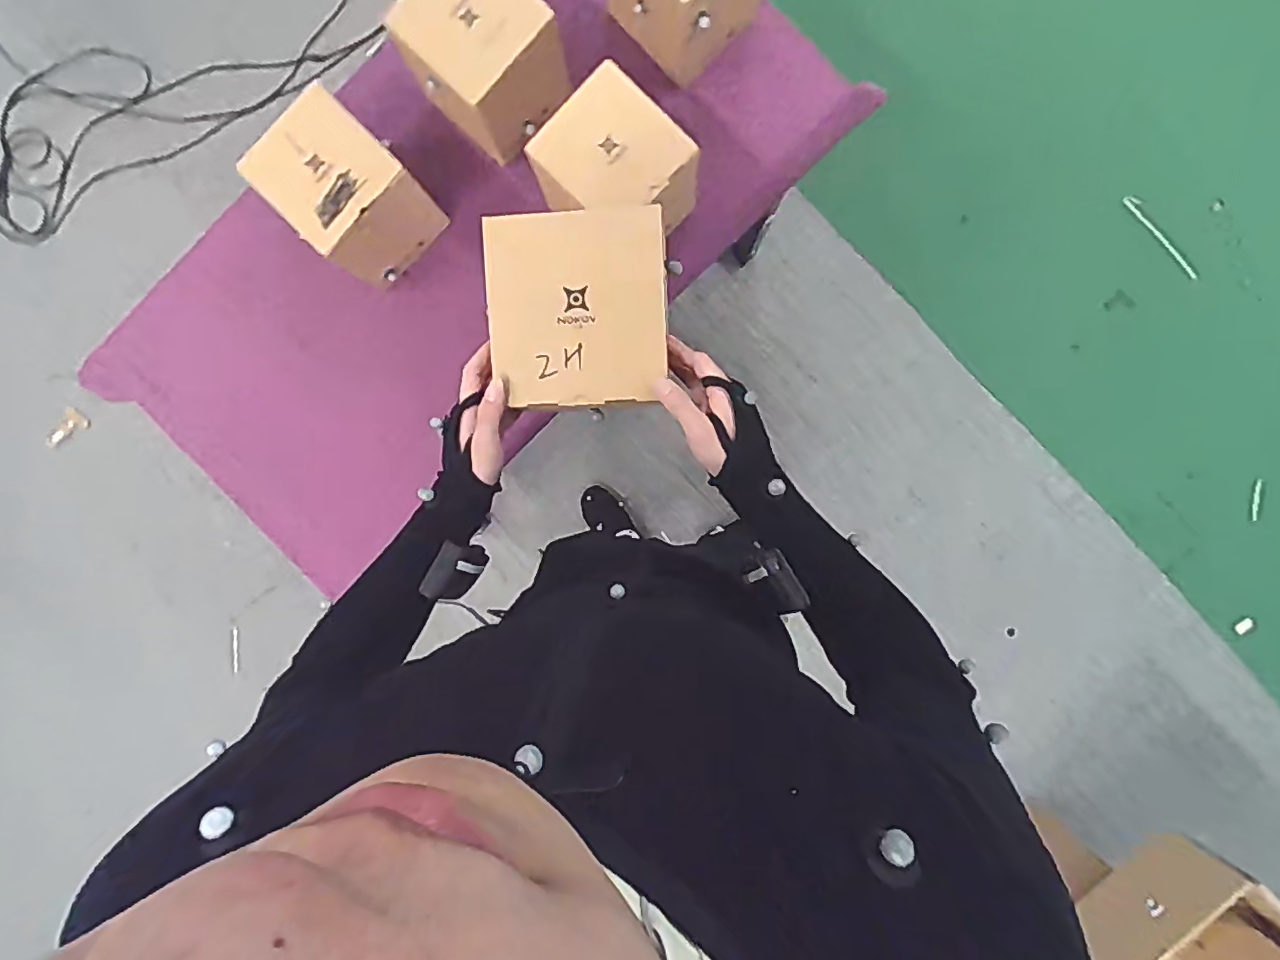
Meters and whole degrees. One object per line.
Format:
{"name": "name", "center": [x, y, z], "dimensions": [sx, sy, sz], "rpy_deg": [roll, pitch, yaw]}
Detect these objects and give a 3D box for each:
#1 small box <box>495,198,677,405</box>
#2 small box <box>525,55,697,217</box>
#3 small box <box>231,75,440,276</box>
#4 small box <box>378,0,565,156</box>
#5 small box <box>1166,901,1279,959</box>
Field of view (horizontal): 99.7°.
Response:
{"name": "small box", "center": [-0.045, -0.172, 0.571], "dimensions": [0.168, 0.176, 0.179], "rpy_deg": [-1, 97, 4]}
{"name": "small box", "center": [-0.039, -0.455, 0.804], "dimensions": [0.179, 0.176, 0.168], "rpy_deg": [44, 92, -1]}
{"name": "small box", "center": [-0.437, -0.433, 0.810], "dimensions": [0.179, 0.176, 0.168], "rpy_deg": [45, 92, -1]}
{"name": "small box", "center": [-0.234, -0.633, 0.800], "dimensions": [0.179, 0.176, 0.168], "rpy_deg": [44, 93, -2]}
{"name": "small box", "center": [1.310, 1.068, 1.154], "dimensions": [0.168, 0.176, 0.179], "rpy_deg": [-42, 91, 2]}
